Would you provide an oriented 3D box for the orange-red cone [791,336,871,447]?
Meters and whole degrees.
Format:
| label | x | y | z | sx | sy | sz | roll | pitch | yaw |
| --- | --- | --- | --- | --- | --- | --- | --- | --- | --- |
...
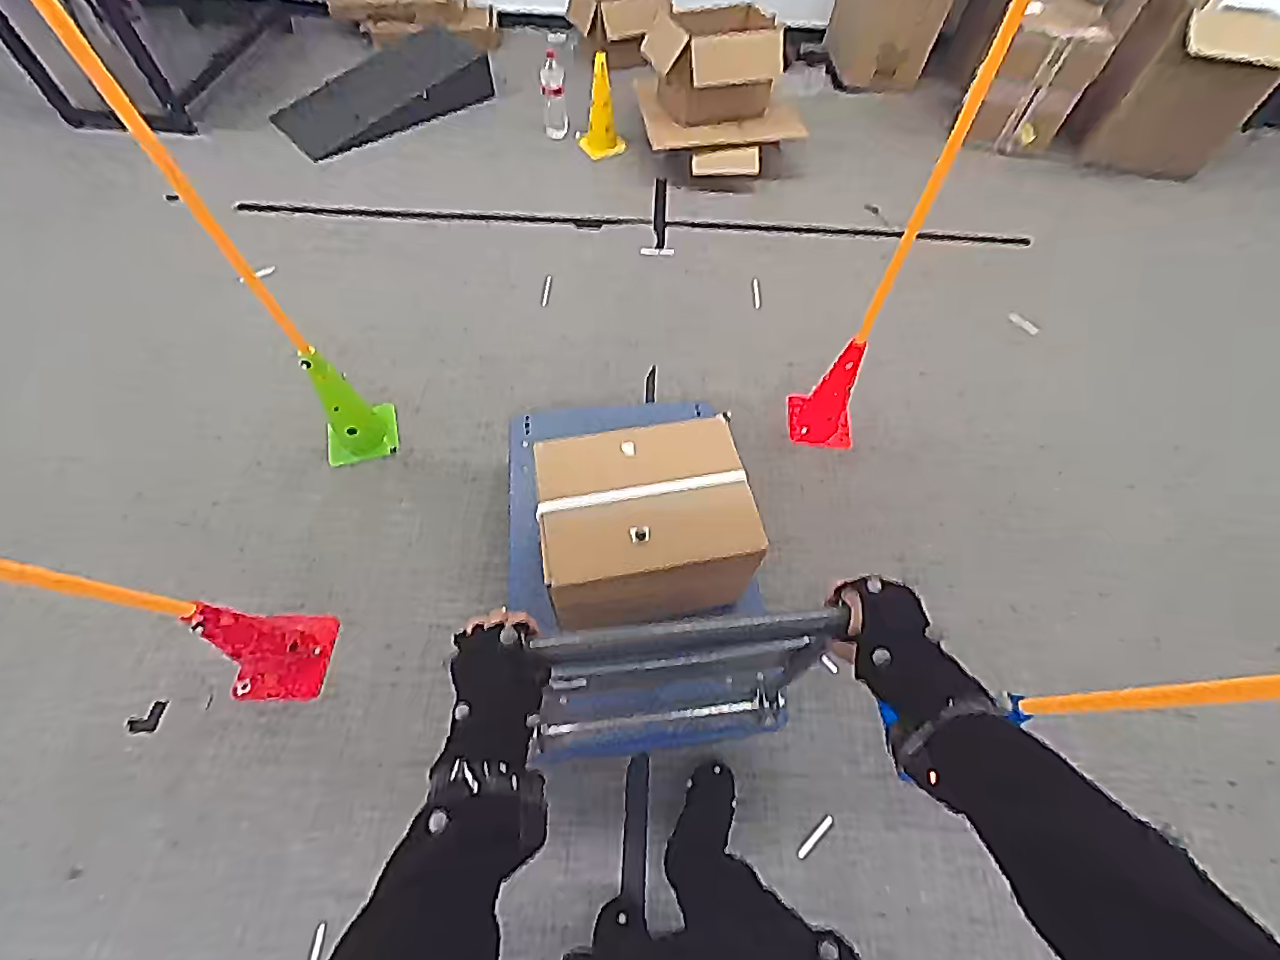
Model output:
| label | x | y | z | sx | sy | sz | roll | pitch | yaw |
| --- | --- | --- | --- | --- | --- | --- | --- | --- | --- |
| orange-red cone | 0.598 | -0.286 | 1.602 | 0.199 | 0.360 | 0.198 | 9 | 59 | 2 |

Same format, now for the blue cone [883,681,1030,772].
| label | x | y | z | sx | sy | sz | roll | pitch | yaw |
| --- | --- | --- | --- | --- | --- | --- | --- | --- | --- |
| blue cone | 0.696 | 0.497 | 1.146 | 0.193 | 0.380 | 0.192 | -1 | 58 | -3 |
